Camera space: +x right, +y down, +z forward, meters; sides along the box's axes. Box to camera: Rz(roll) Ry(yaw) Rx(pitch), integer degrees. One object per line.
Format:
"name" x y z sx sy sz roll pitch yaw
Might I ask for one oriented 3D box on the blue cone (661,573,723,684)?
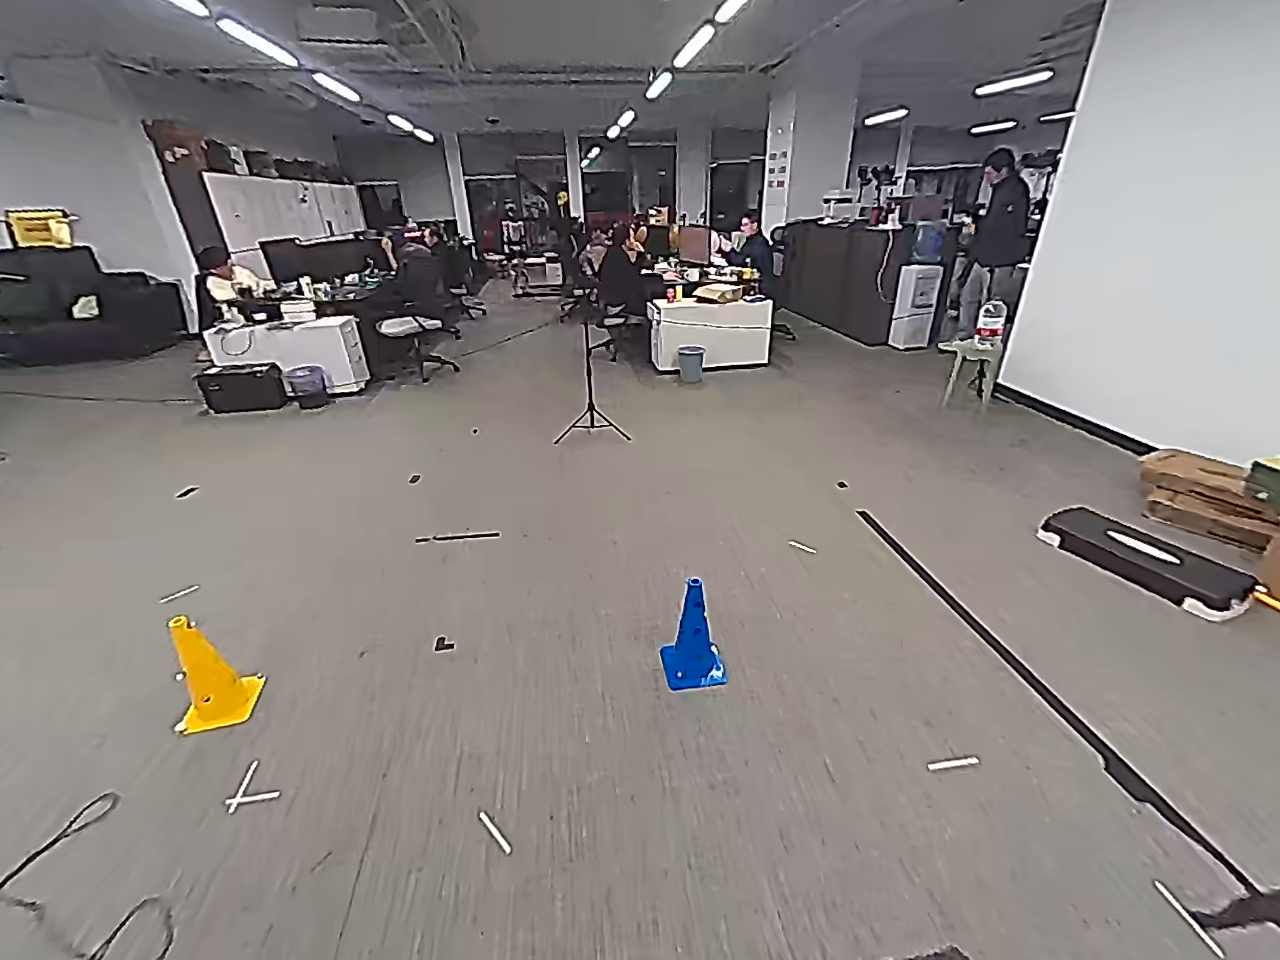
"blue cone" 0.174 0.474 1.779 0.193 0.380 0.192 -4 26 -6
